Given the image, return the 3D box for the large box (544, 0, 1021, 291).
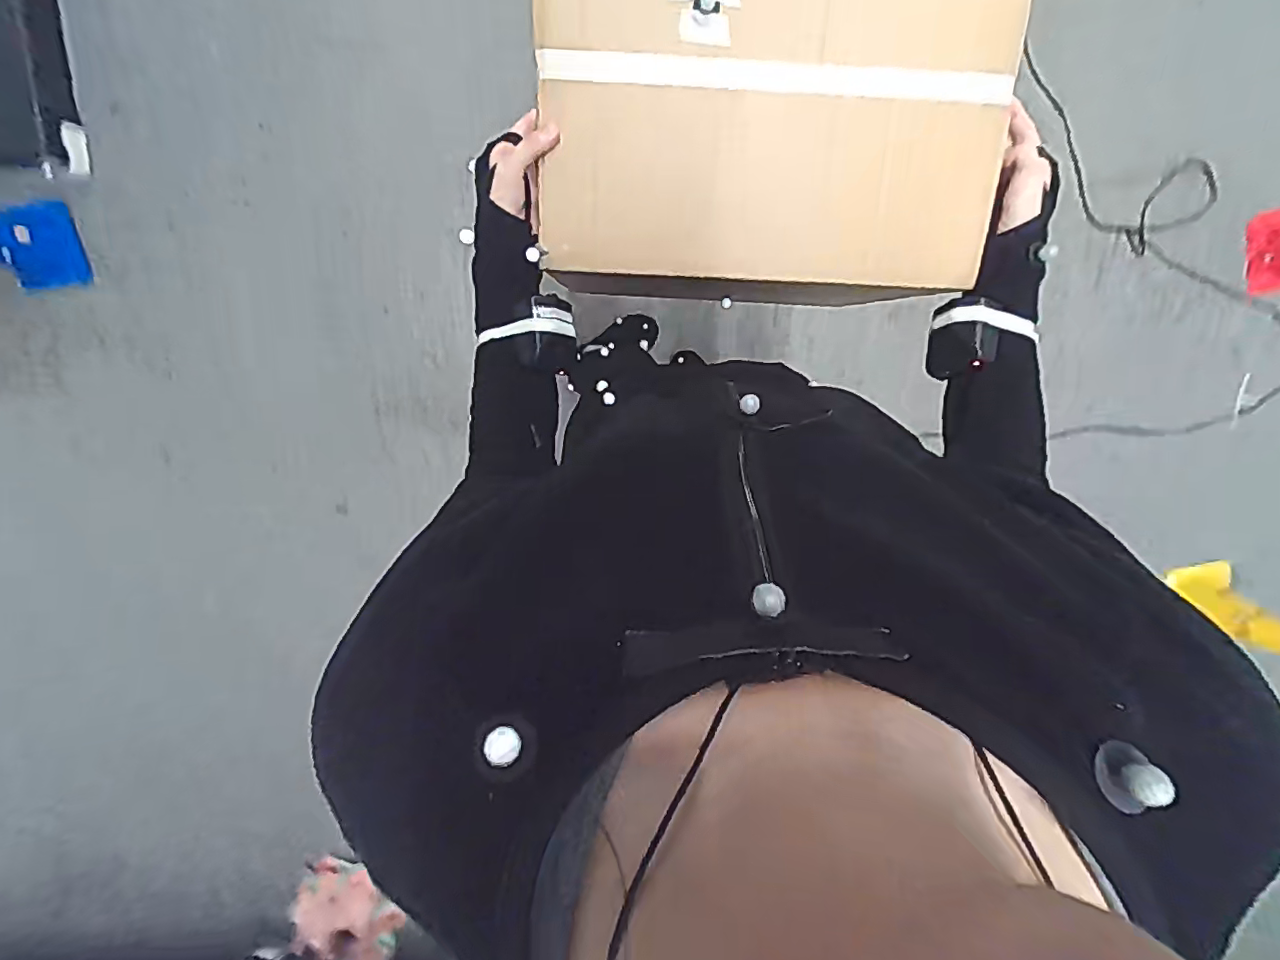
[{"bbox_3d":[0.117,-0.387,0.608,0.408,0.320,0.320,3,105,-1],"label":"large box"}]
